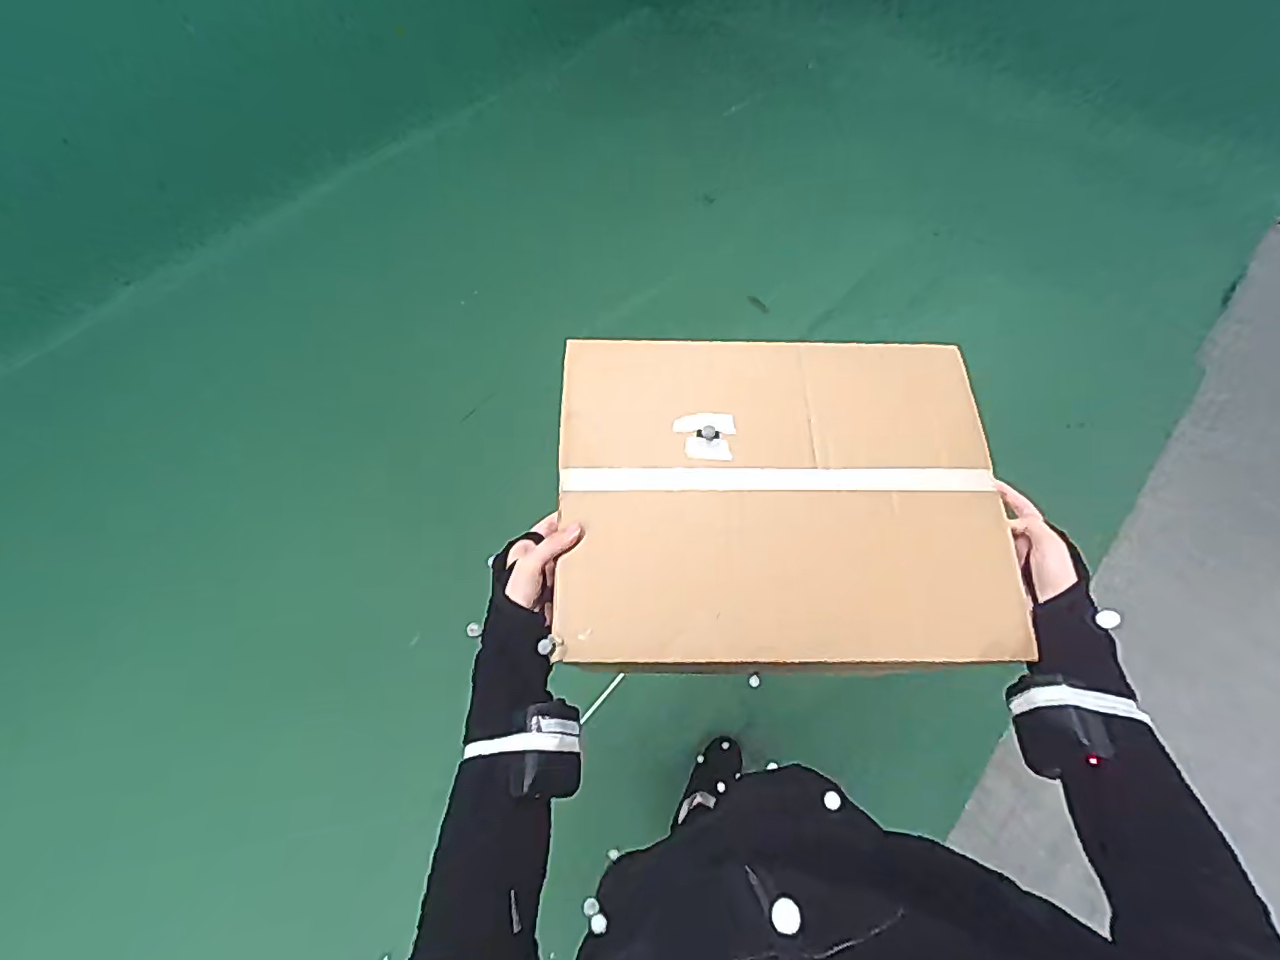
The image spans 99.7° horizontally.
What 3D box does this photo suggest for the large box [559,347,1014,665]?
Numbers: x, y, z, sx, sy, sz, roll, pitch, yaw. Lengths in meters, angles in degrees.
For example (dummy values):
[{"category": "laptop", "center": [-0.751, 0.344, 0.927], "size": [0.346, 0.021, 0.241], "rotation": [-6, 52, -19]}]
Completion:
[{"category": "large box", "center": [0.127, 0.057, 0.656], "size": [0.408, 0.320, 0.320], "rotation": [0, 69, -1]}]
